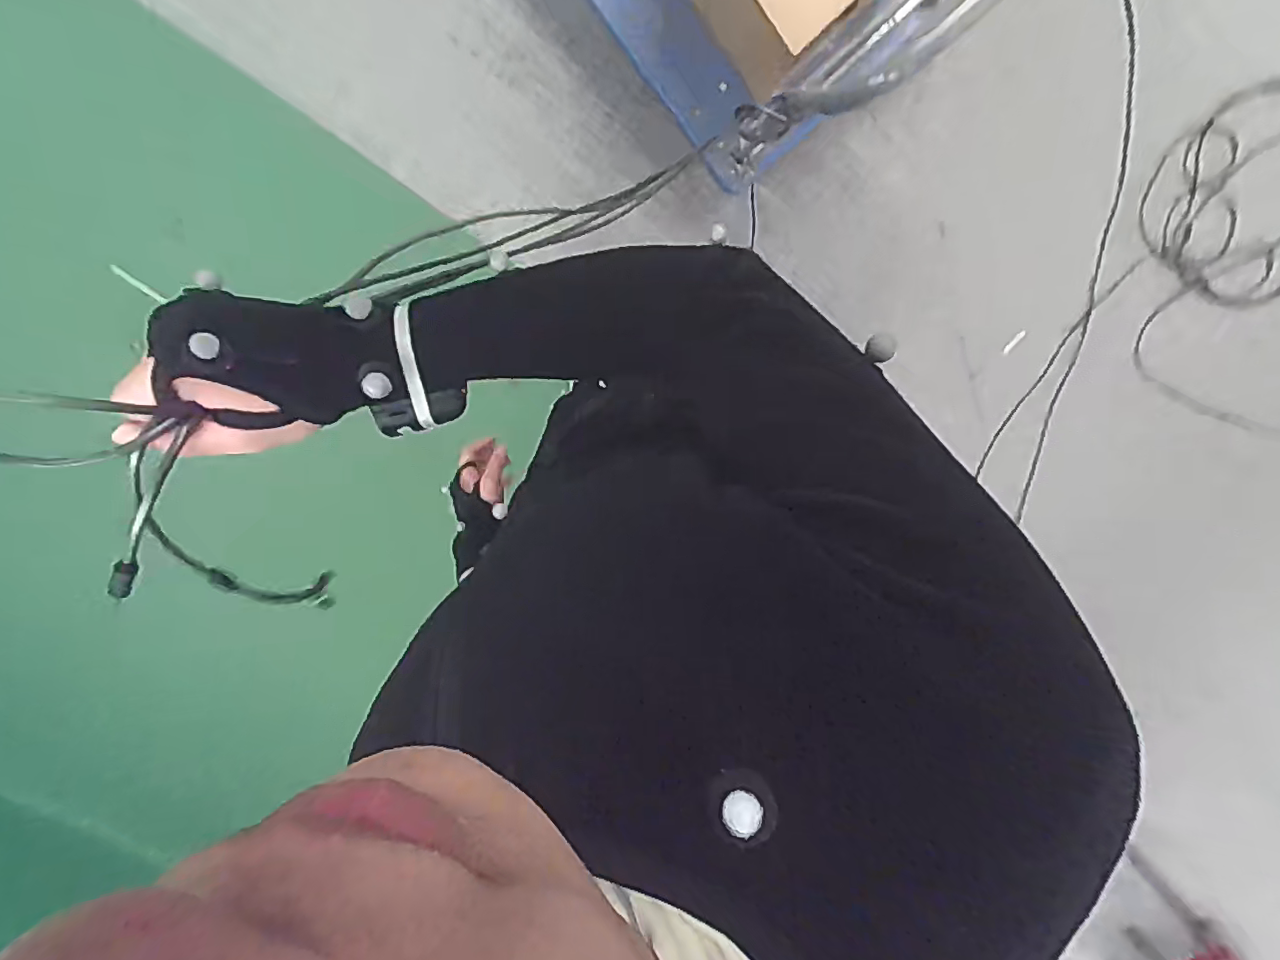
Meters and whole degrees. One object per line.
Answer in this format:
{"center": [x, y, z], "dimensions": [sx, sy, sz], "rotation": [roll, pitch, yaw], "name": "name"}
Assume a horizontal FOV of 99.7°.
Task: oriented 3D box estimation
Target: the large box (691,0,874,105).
{"center": [0.239, -0.964, 0.921], "dimensions": [0.320, 0.320, 0.408], "rotation": [-39, 105, 16], "name": "large box"}
